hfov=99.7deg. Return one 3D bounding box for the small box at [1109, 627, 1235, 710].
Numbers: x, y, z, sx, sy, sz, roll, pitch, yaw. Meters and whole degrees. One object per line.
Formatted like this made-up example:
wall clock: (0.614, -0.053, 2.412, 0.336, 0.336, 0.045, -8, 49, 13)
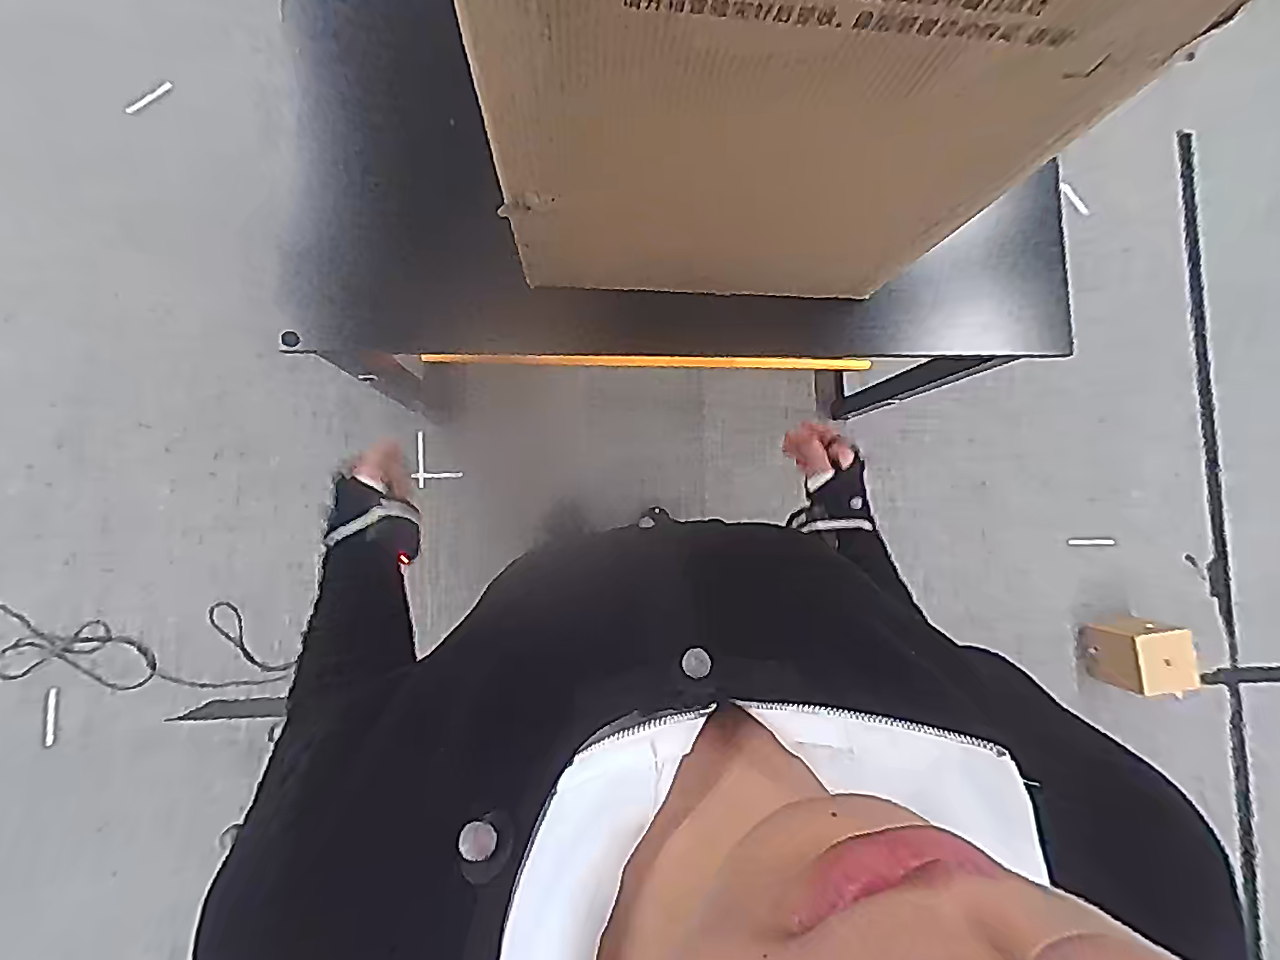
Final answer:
small box: (1.462, 0.513, 1.495, 0.179, 0.176, 0.168, -8, 87, -5)
